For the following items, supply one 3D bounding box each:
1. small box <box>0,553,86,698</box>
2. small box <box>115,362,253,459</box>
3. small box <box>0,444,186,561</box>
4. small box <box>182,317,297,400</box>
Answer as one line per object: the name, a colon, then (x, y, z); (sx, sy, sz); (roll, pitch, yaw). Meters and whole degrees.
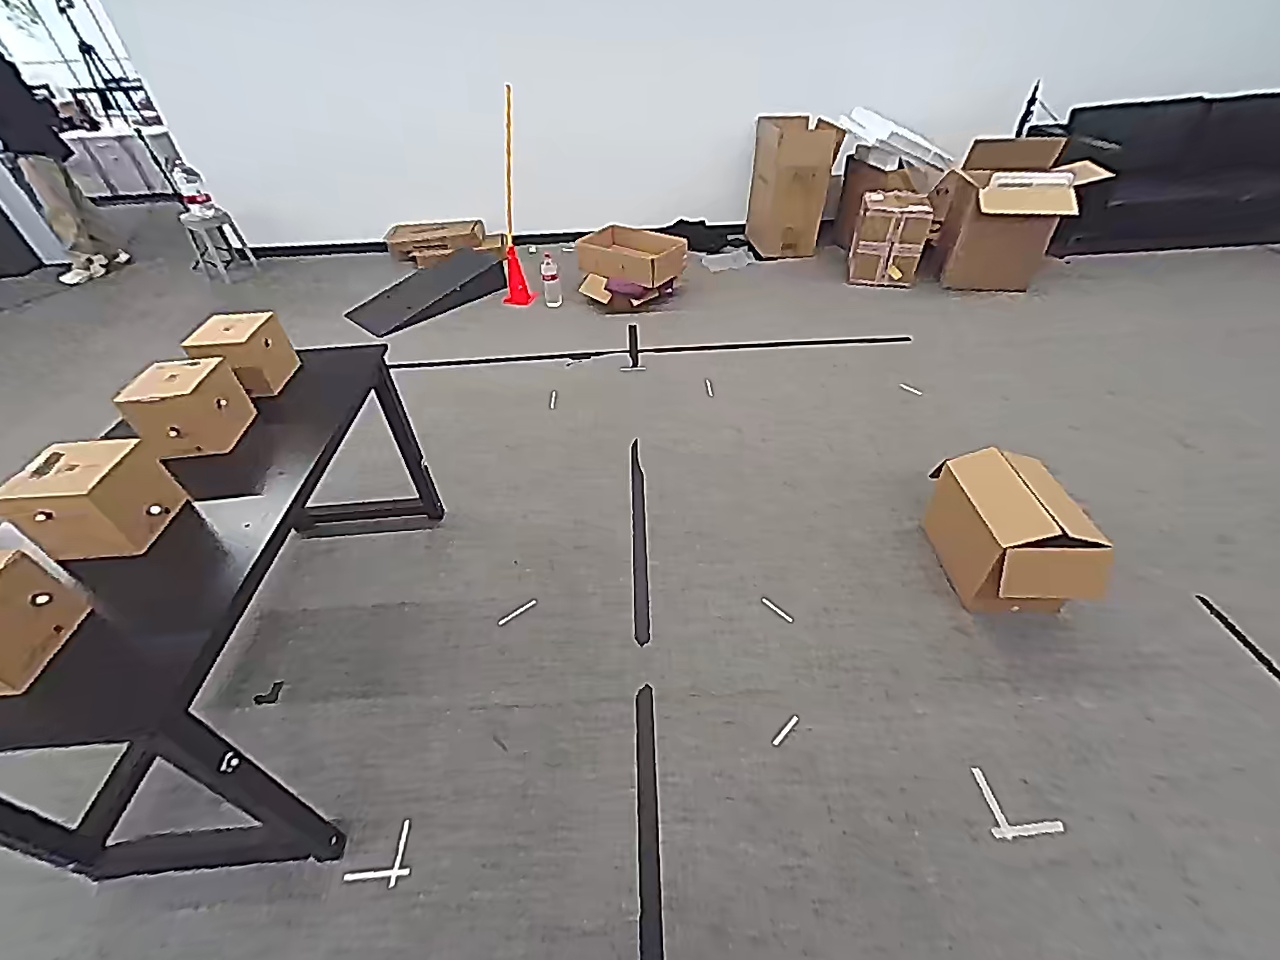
small box: (-1.070, 0.238, 0.861); (0.179, 0.176, 0.168); (-5, 40, -2)
small box: (-1.089, -0.164, 1.314); (0.168, 0.176, 0.179); (-6, 42, -4)
small box: (-1.077, 0.047, 1.076); (0.179, 0.176, 0.168); (-4, 42, -2)
small box: (-1.097, -0.332, 1.501); (0.168, 0.176, 0.179); (-4, 42, -1)
